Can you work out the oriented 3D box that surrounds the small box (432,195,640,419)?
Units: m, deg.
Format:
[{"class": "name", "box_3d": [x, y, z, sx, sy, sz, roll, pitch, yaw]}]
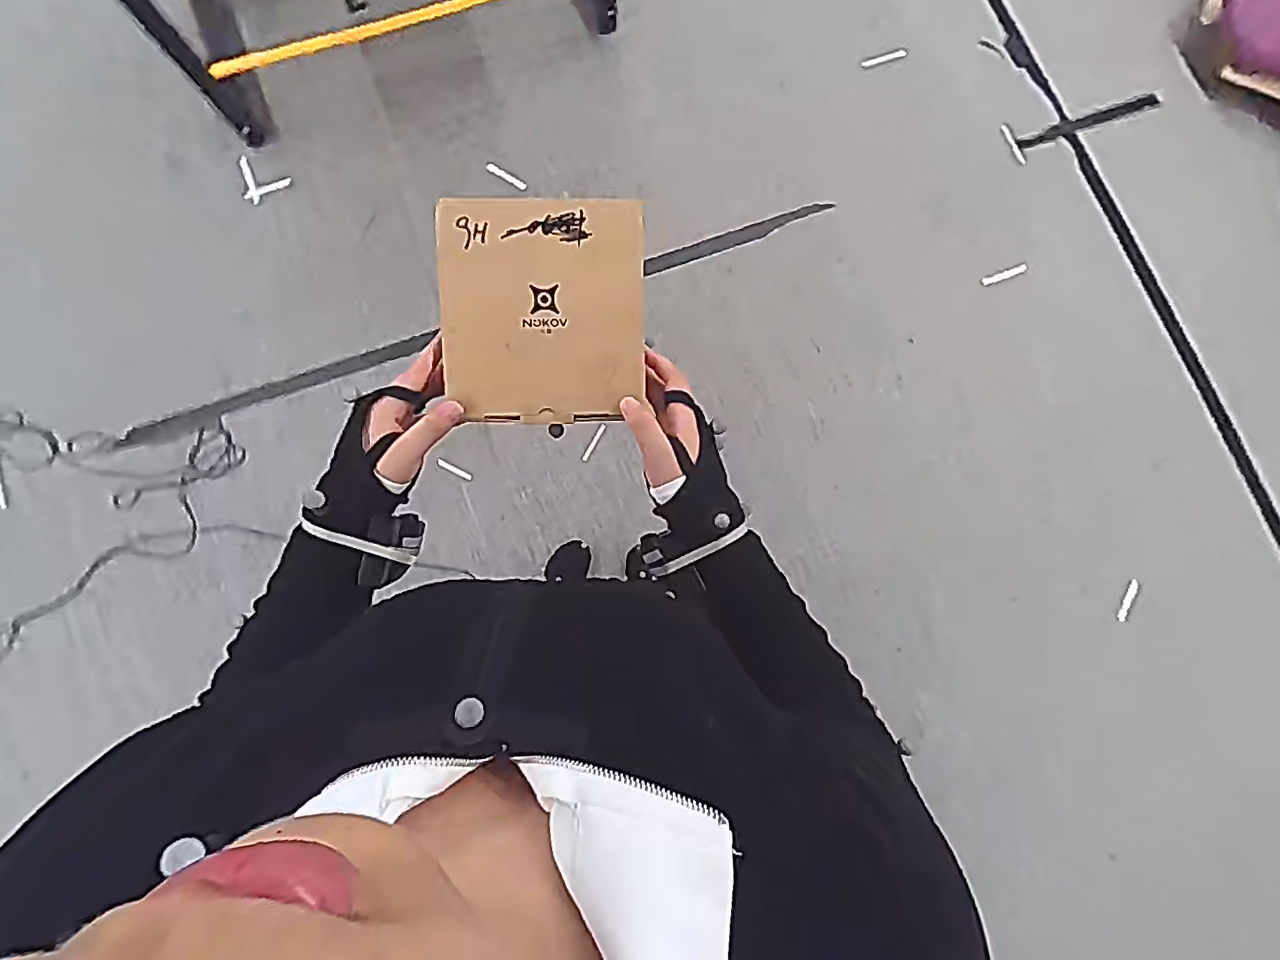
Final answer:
[{"class": "small box", "box_3d": [-0.085, -0.150, 0.522, 0.168, 0.176, 0.179, -3, 96, -3]}]
